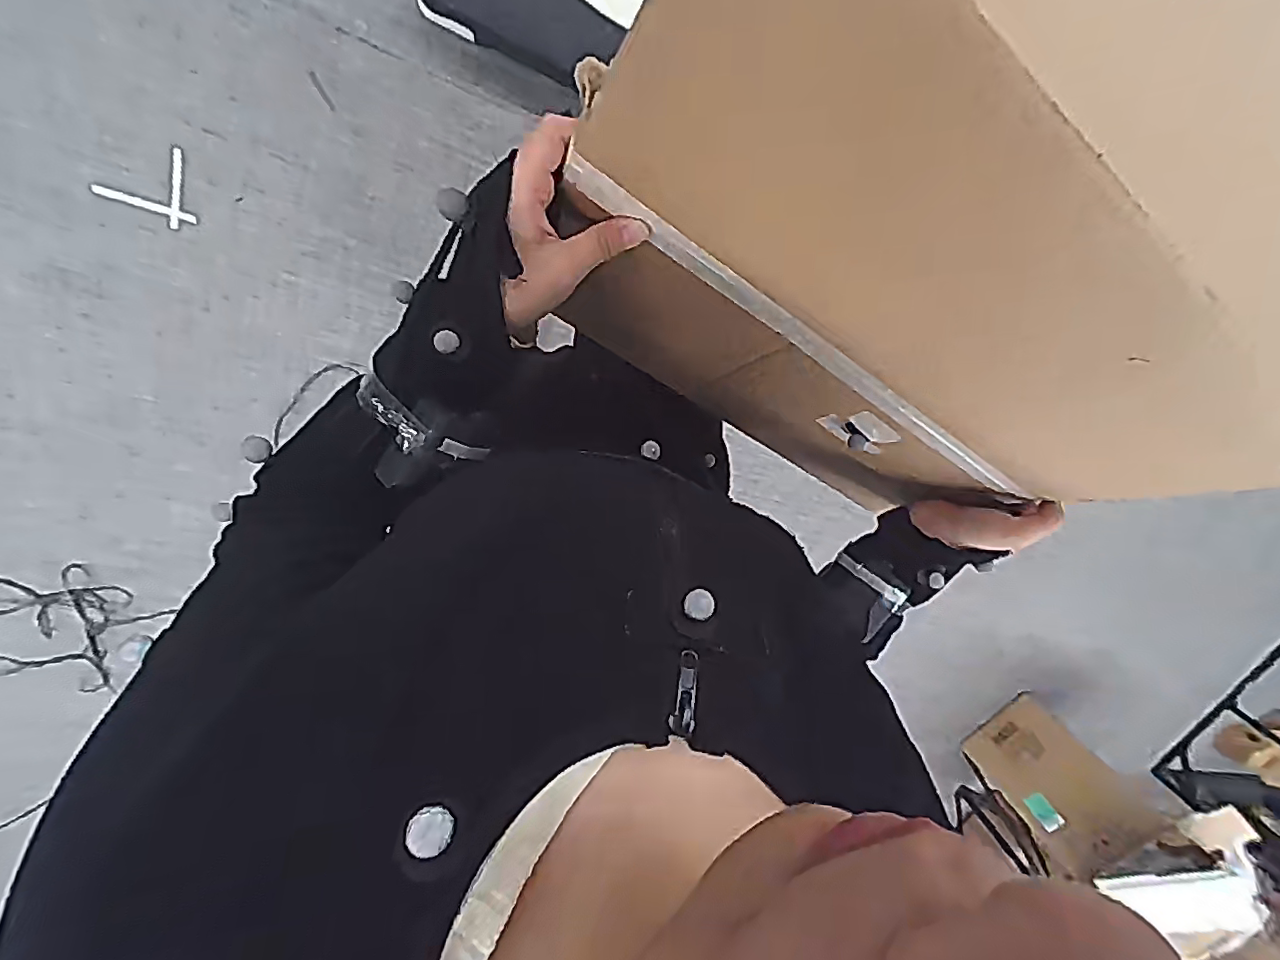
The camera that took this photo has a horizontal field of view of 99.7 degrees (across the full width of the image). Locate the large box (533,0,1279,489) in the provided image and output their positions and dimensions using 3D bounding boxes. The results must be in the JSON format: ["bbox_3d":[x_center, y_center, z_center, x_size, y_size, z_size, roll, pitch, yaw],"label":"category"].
[{"bbox_3d":[0.199,-0.226,0.357,0.408,0.320,0.320,27,75,-20],"label":"large box"}]
